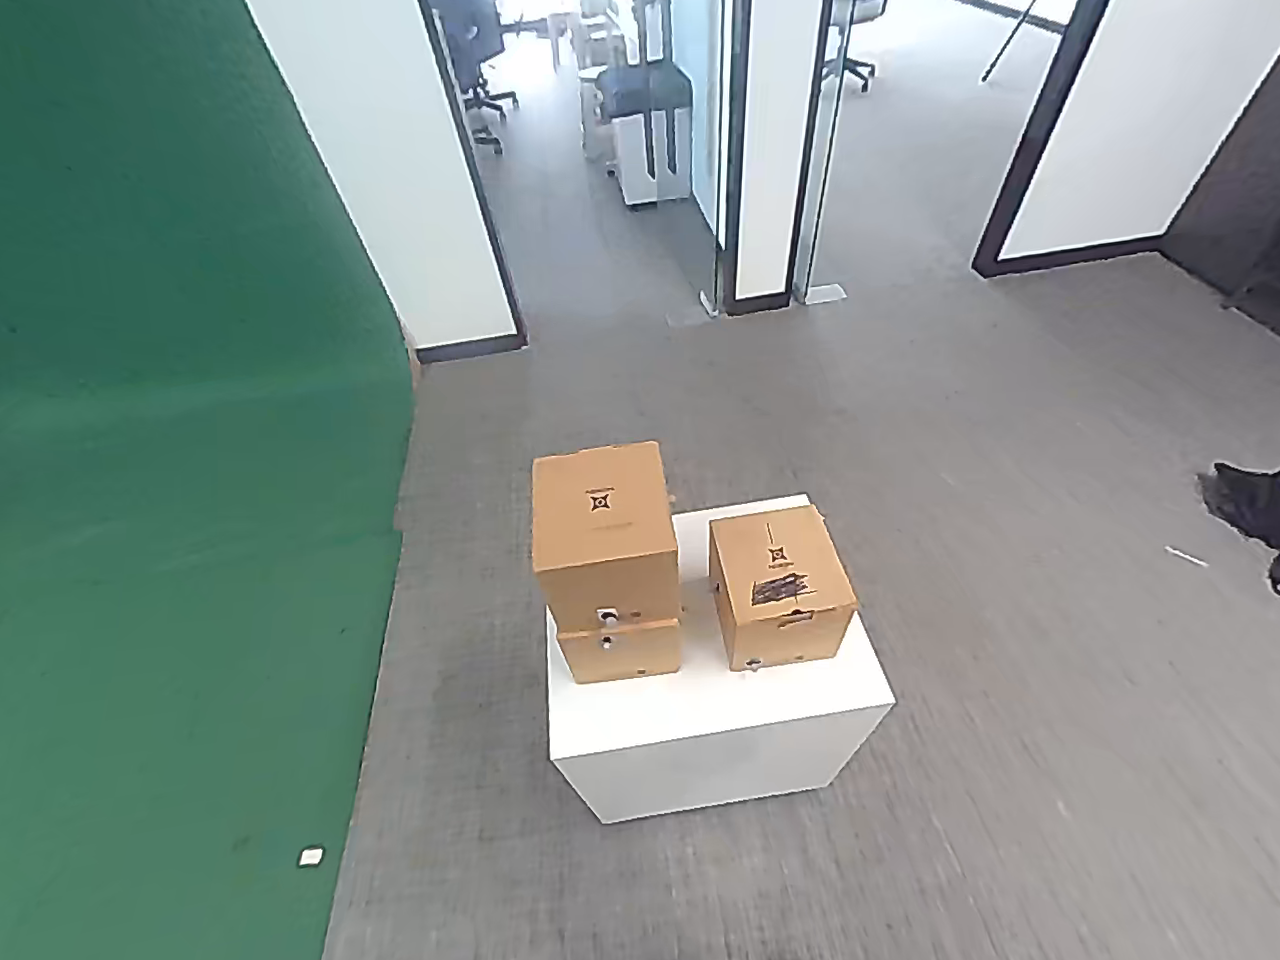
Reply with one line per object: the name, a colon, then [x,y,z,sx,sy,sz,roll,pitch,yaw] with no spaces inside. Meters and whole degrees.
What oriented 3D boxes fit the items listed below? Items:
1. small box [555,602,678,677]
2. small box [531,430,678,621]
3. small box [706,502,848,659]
small box: [-0.033,0.183,0.840,0.168,0.176,0.179,-7,48,1]
small box: [-0.044,0.061,0.711,0.168,0.176,0.179,-9,51,-1]
small box: [0.199,0.161,0.833,0.168,0.176,0.179,-8,48,0]
